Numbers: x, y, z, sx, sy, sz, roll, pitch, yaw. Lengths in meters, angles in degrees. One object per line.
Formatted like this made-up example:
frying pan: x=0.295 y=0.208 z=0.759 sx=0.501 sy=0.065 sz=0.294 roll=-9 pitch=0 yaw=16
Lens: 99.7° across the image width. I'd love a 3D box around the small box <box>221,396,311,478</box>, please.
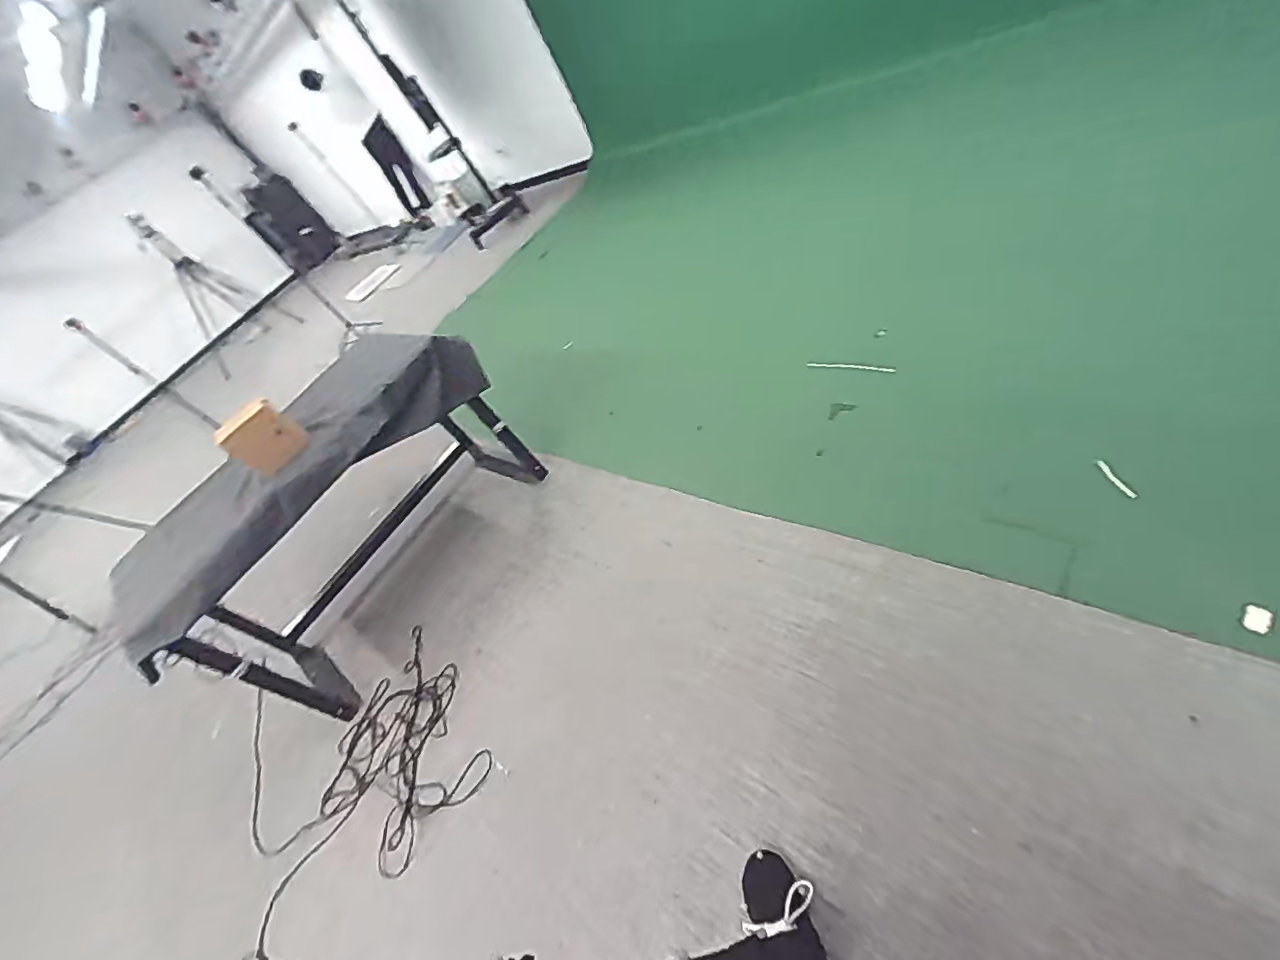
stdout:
small box: x=-1.181 y=-0.137 z=1.719 sx=0.179 sy=0.176 sz=0.168 roll=-49 pitch=41 yaw=-14
